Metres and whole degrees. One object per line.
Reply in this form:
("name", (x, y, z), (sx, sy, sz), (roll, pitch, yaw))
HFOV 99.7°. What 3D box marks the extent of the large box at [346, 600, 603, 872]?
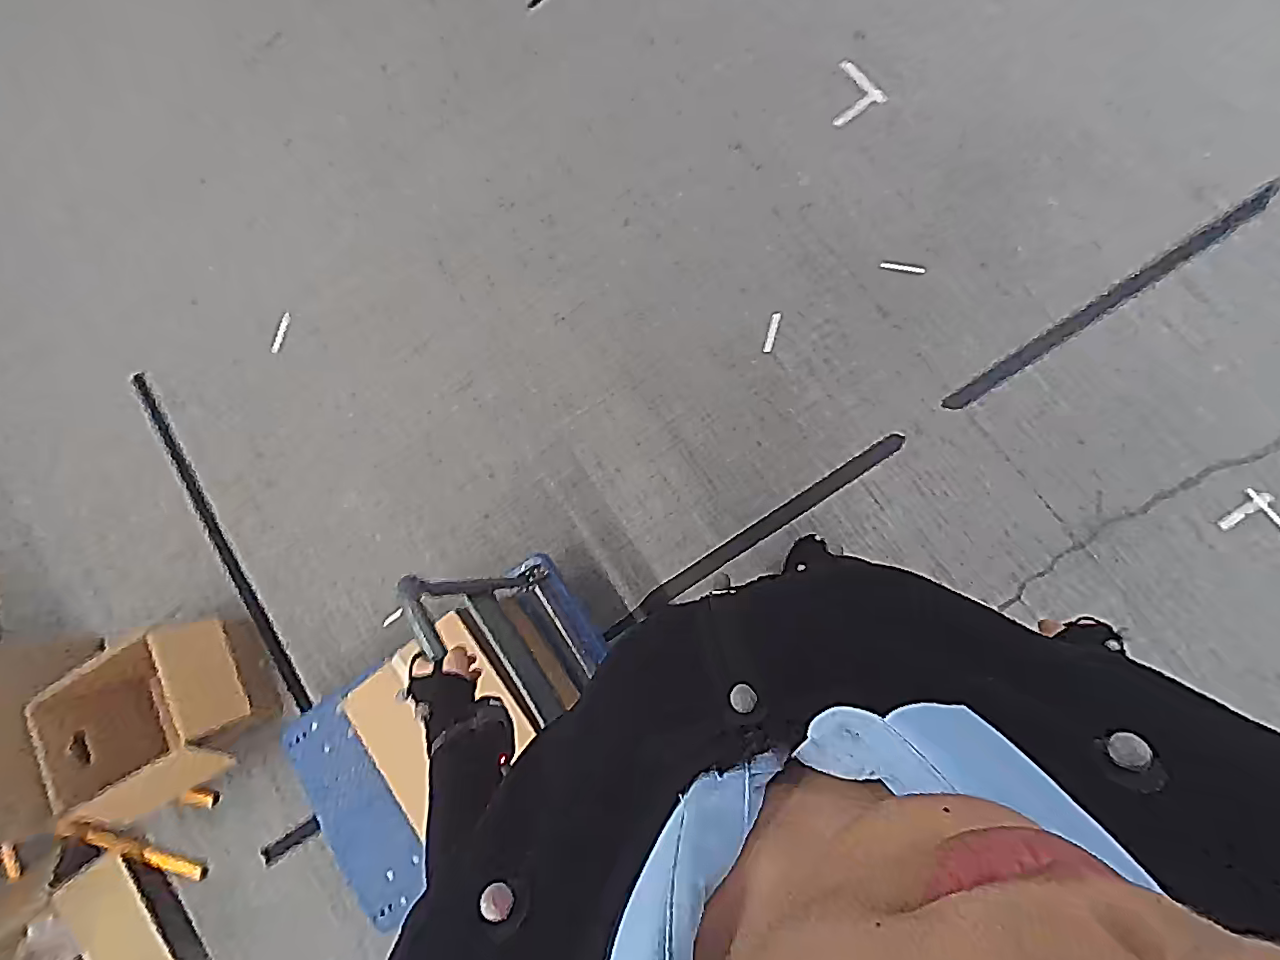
("large box", (-0.346, 0.533, 1.217), (0.320, 0.320, 0.408), (-39, 78, 2))
